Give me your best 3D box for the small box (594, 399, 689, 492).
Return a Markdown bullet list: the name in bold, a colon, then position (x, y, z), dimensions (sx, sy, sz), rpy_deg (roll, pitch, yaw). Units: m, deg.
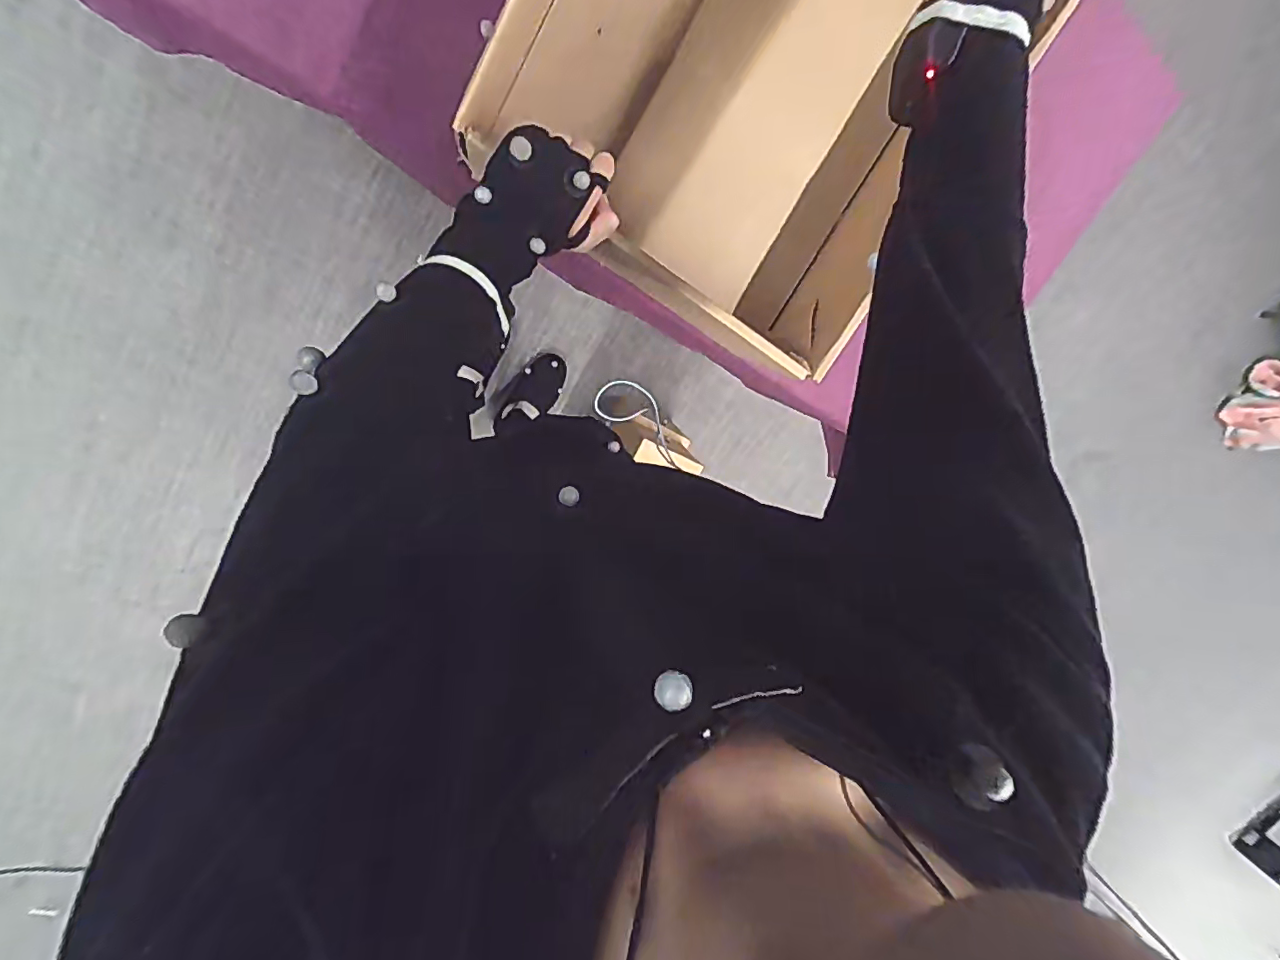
- **small box**: position (-0.003, -0.097, 1.445), dimensions (0.179, 0.176, 0.168), rpy_deg (25, 104, -22)
